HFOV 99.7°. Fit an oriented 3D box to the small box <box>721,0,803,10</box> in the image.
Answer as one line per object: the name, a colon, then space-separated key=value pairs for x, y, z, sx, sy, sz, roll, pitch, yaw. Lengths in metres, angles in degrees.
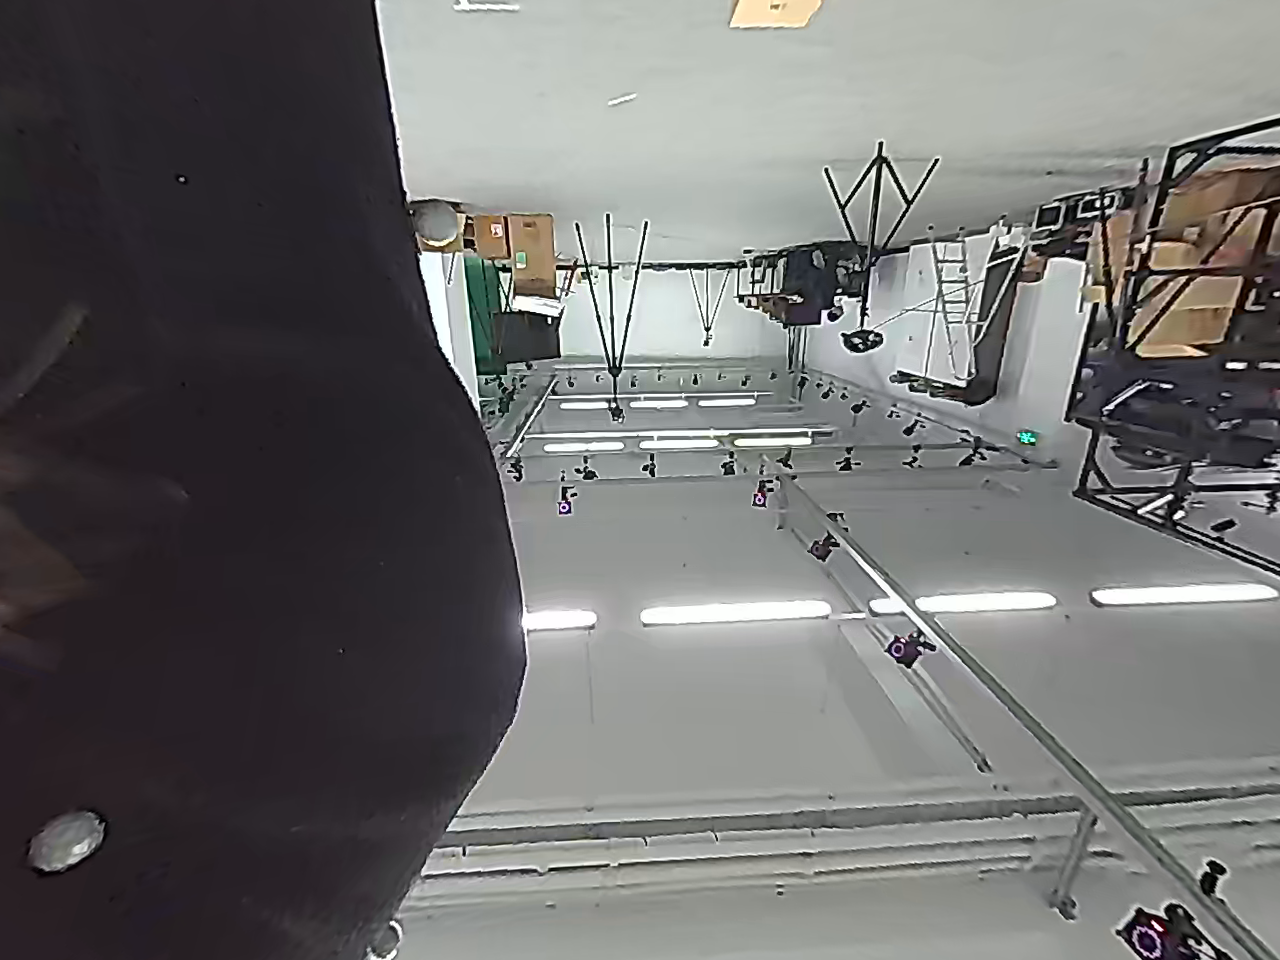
small box: x=0.267 y=-1.095 z=1.091 sx=0.179 sy=0.176 sz=0.168 roll=-2 pitch=-161 yaw=-3
